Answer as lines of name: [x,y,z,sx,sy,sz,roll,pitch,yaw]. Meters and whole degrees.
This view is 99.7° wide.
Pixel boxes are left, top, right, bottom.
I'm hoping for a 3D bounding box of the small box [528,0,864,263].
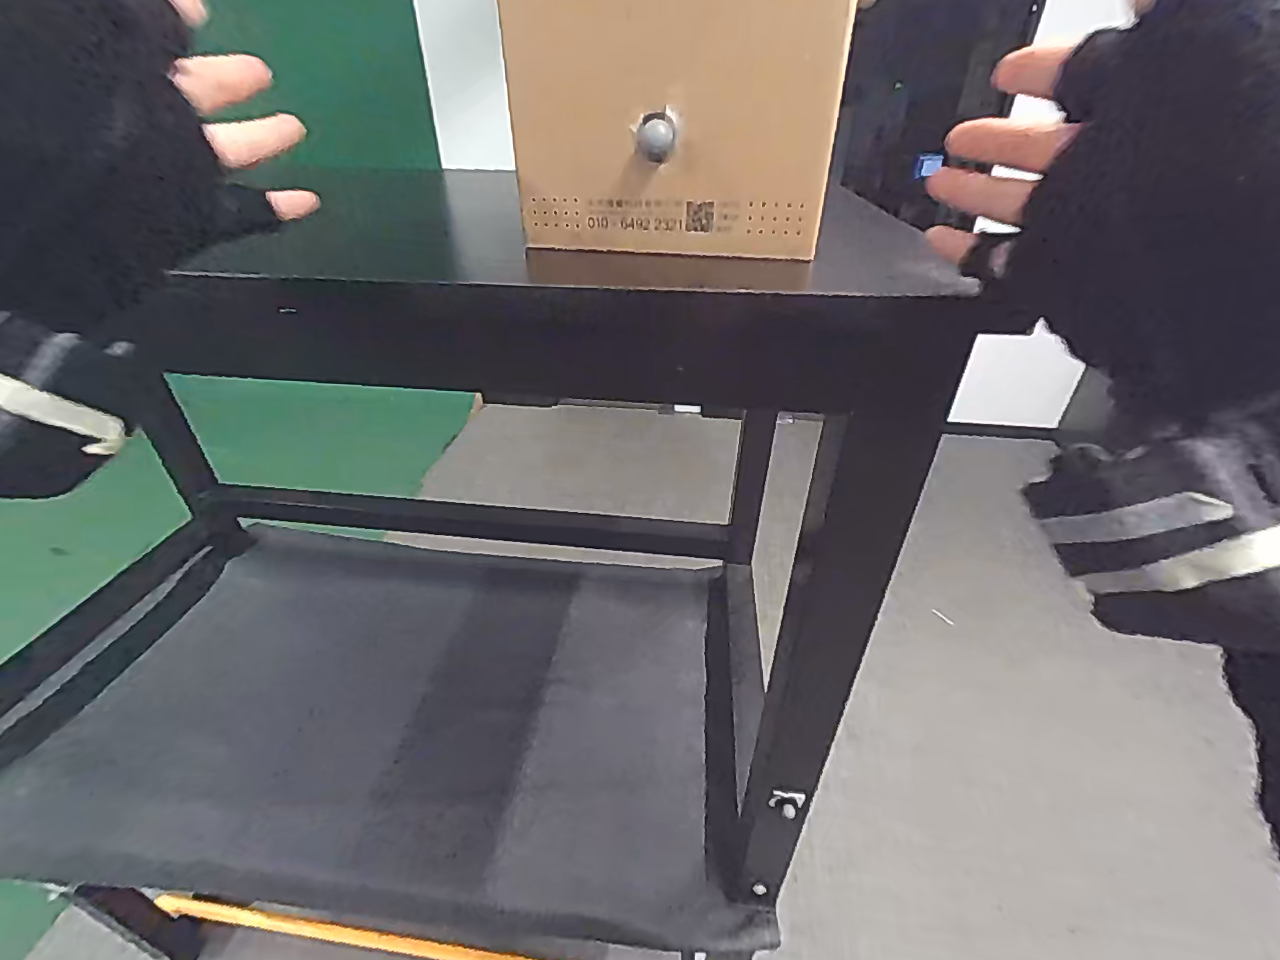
small box: [0.038,-0.241,0.329,0.168,0.176,0.179,8,34,12]
